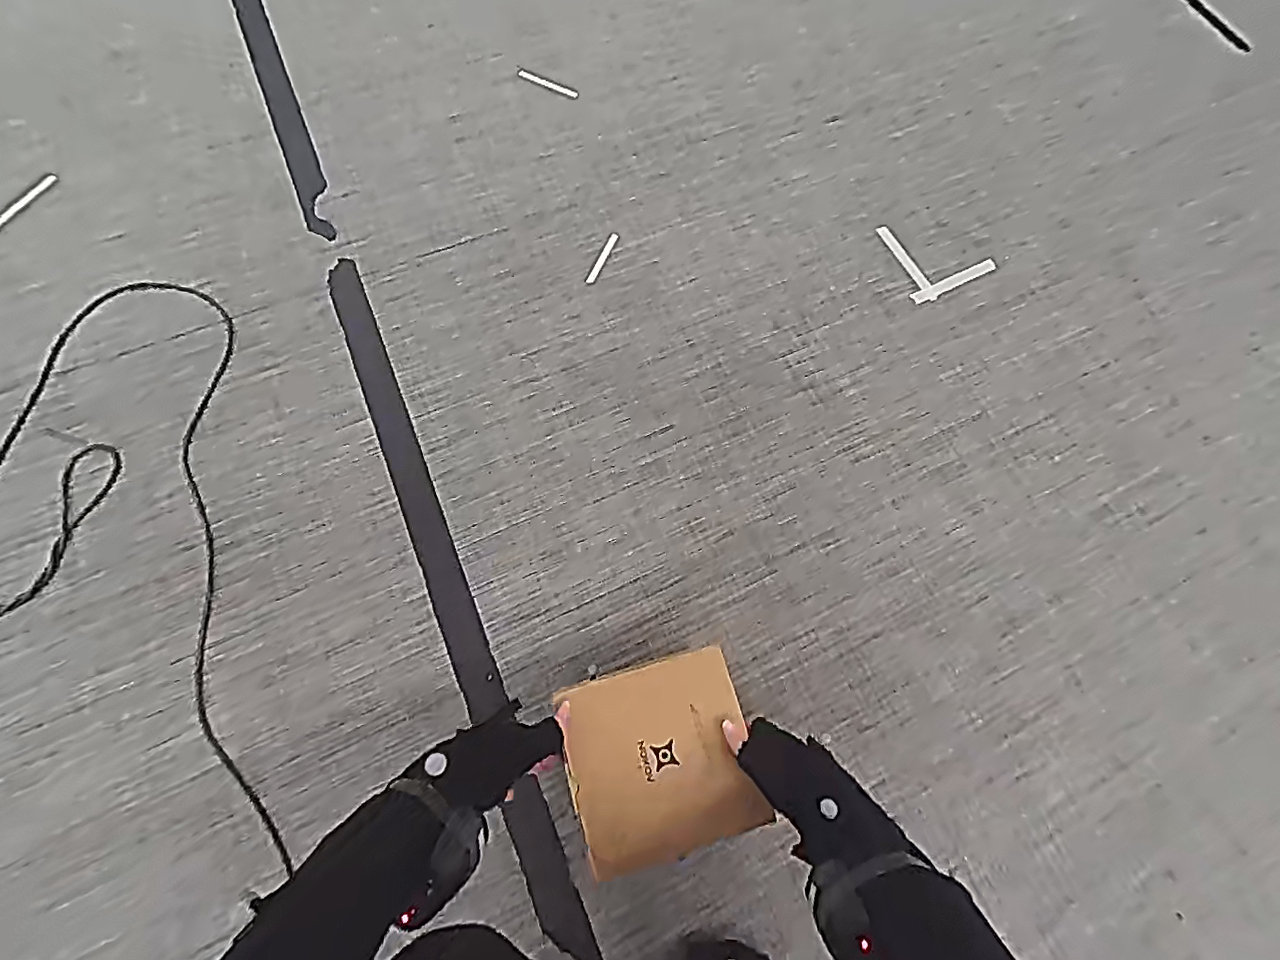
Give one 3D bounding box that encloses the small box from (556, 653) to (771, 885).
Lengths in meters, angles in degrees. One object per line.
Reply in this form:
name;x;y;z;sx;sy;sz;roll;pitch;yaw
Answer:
small box;0.017;0.299;0.597;0.179;0.176;0.168;-14;73;-8
